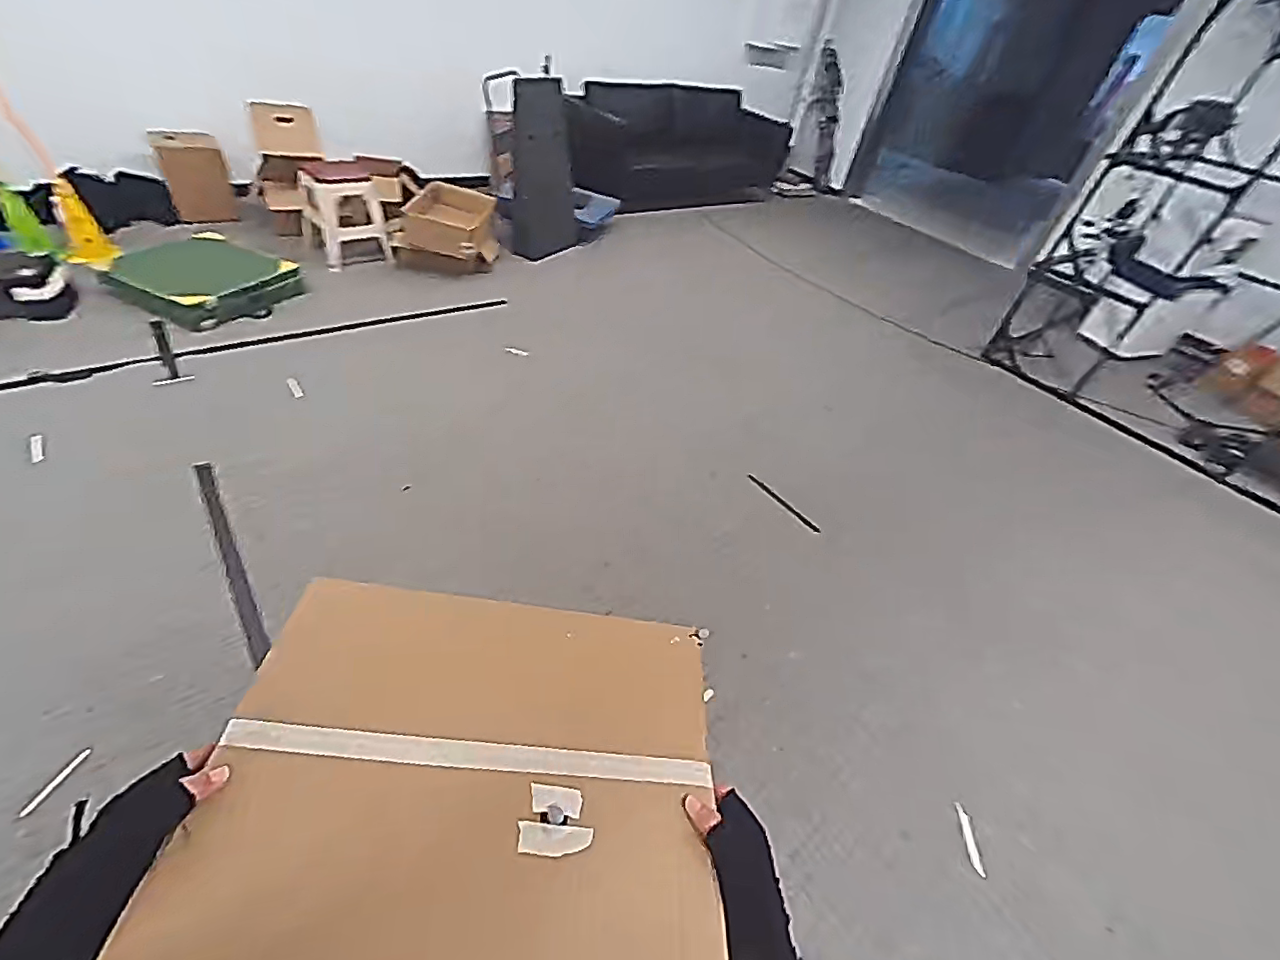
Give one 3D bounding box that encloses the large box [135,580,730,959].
[{"bbox_3d":[-0.162,0.344,0.572,0.408,0.320,0.320,11,42,-9],"label":"large box"}]
